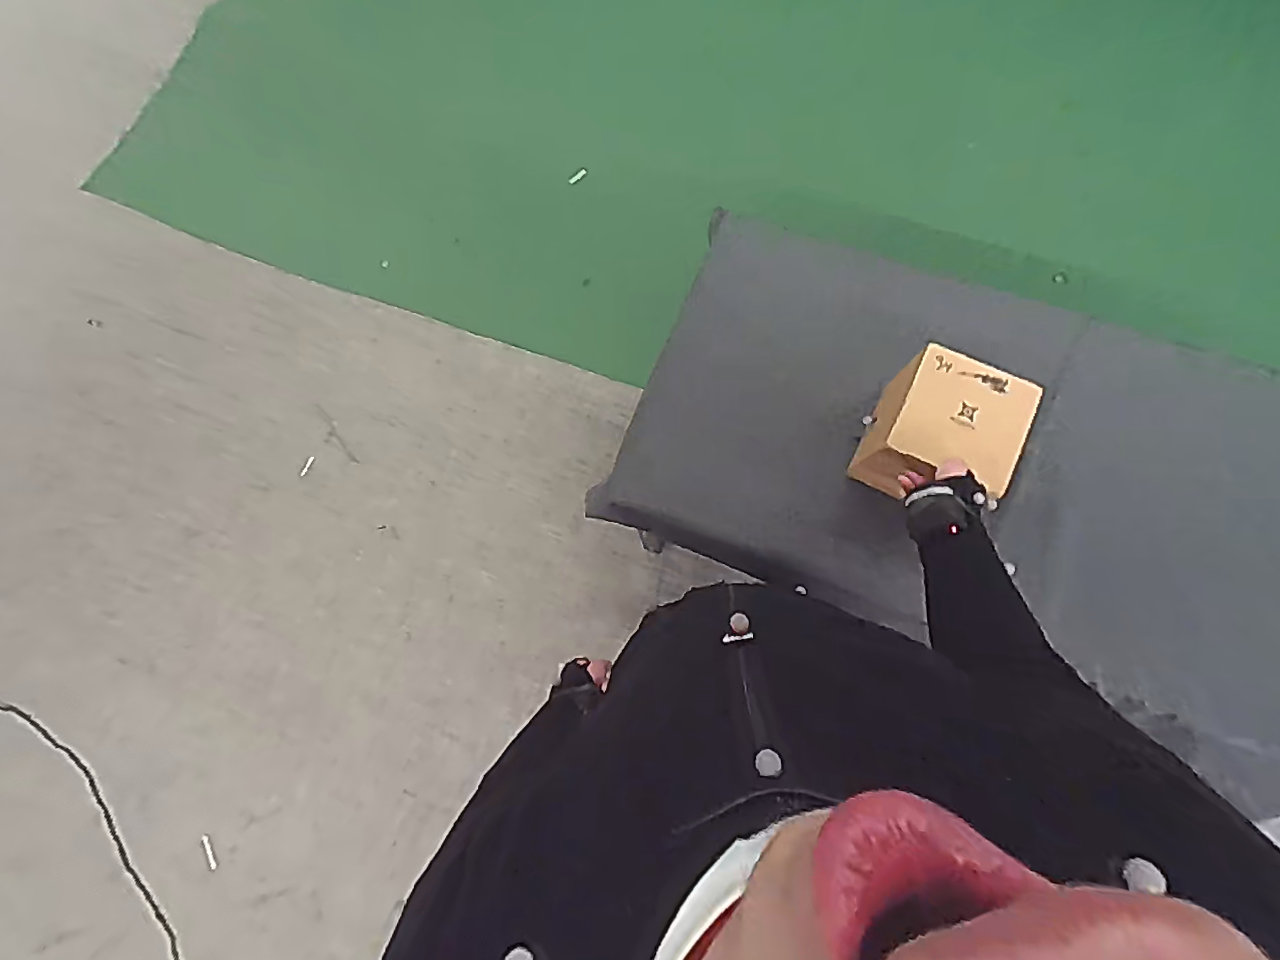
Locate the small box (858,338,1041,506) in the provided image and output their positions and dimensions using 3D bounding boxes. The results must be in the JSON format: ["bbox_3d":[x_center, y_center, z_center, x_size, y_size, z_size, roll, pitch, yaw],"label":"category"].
[{"bbox_3d":[0.453,-0.077,0.822,0.168,0.176,0.179,23,78,10],"label":"small box"}]
